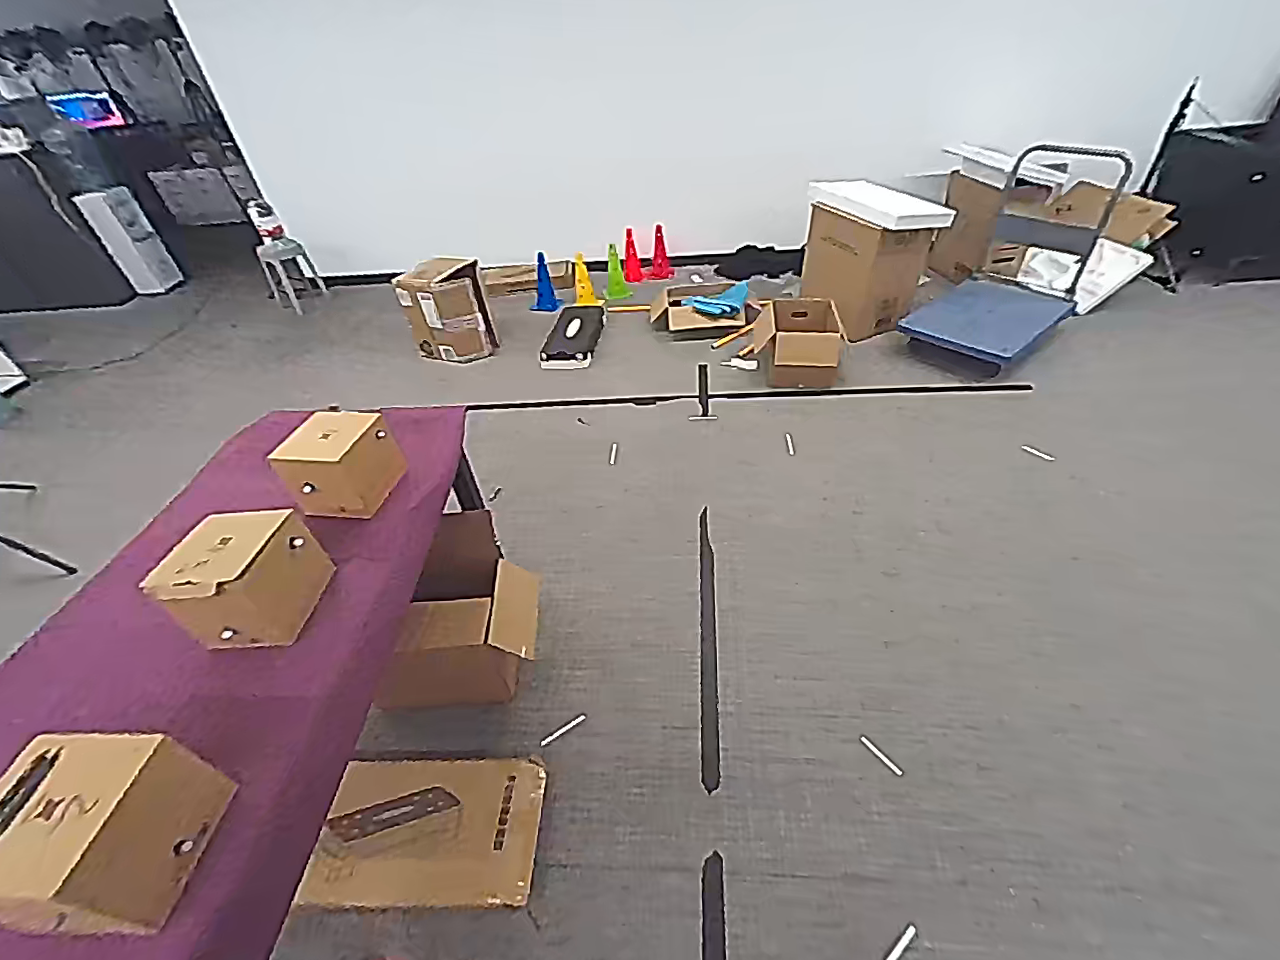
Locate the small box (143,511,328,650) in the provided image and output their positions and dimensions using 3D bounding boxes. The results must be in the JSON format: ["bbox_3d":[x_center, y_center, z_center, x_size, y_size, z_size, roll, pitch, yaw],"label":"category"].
[{"bbox_3d":[-0.690,0.177,0.954,0.168,0.176,0.179,-5,40,5],"label":"small box"}]

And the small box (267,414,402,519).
[{"bbox_3d":[-0.659,-0.029,1.195,0.168,0.176,0.179,2,41,9],"label":"small box"}]
